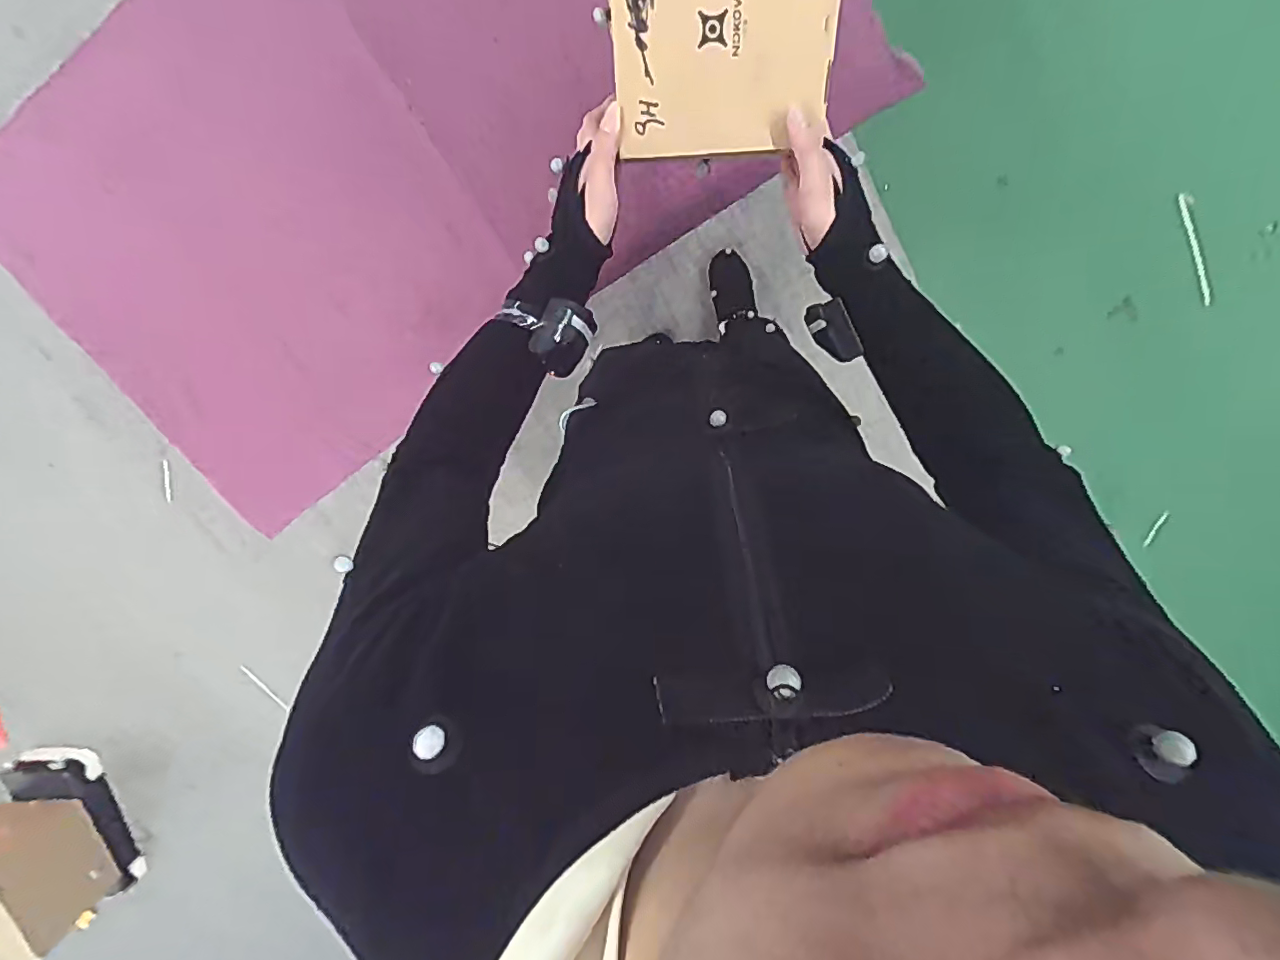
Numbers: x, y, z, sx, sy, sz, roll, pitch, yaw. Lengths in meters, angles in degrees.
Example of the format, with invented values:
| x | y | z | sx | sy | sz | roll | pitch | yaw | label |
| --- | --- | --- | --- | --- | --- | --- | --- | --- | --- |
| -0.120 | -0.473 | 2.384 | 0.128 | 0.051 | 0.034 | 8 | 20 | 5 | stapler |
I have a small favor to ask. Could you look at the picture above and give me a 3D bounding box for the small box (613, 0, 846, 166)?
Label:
| x | y | z | sx | sy | sz | roll | pitch | yaw | label |
| --- | --- | --- | --- | --- | --- | --- | --- | --- | --- |
| 0.066 | -0.381 | 0.484 | 0.179 | 0.176 | 0.168 | -3 | 118 | -1 | small box |
